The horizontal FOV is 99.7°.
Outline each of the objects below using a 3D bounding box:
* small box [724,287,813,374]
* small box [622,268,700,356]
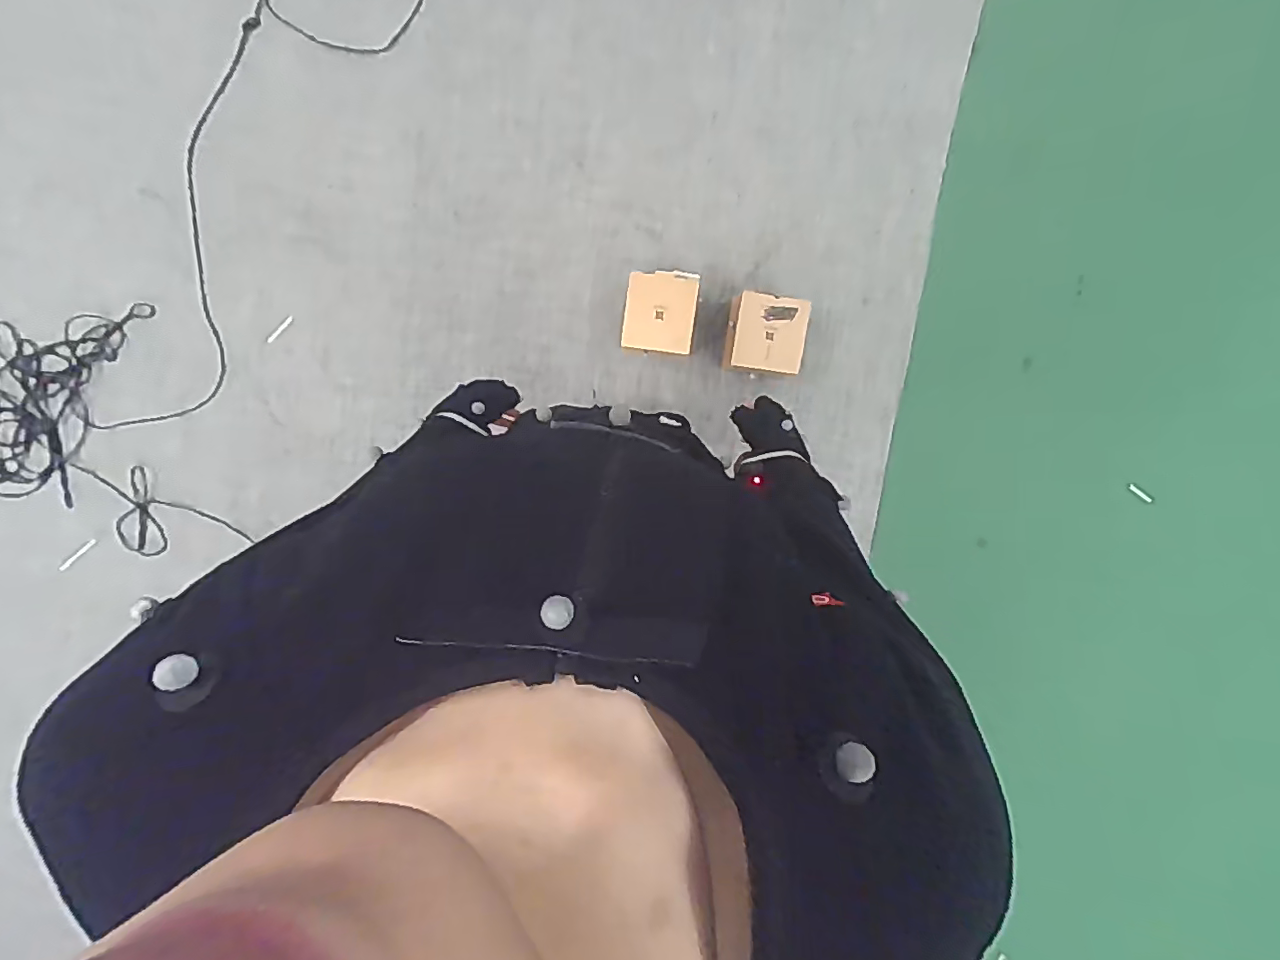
[{"bbox_3d":[0.310,-0.363,1.340,0.168,0.176,0.179,8,99,-1],"label":"small box"},{"bbox_3d":[0.050,-0.406,1.337,0.168,0.176,0.179,7,98,-1],"label":"small box"}]
